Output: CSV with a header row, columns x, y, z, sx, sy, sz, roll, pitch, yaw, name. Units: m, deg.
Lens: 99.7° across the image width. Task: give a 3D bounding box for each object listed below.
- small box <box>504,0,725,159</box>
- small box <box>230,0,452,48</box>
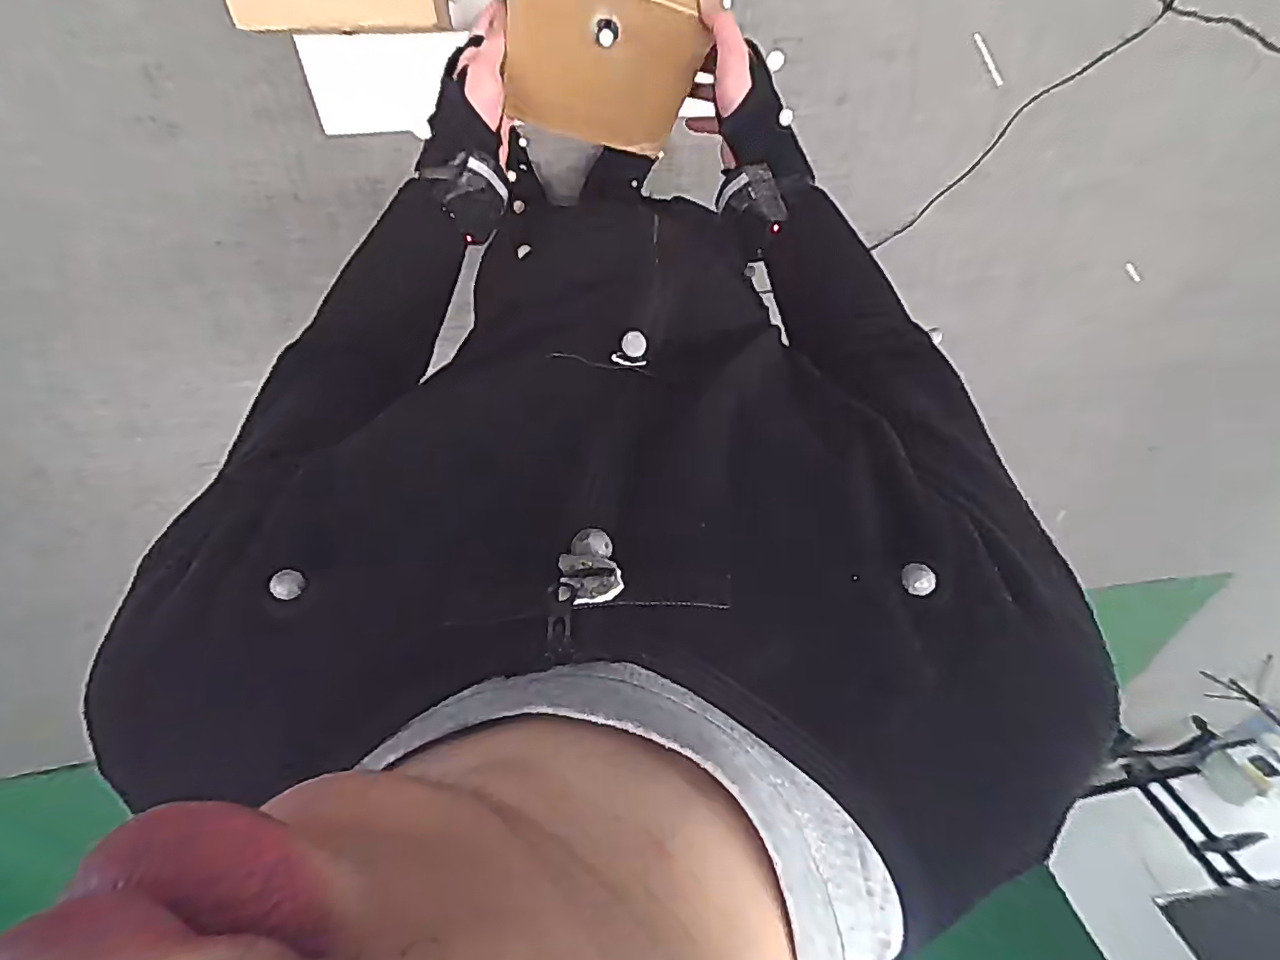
x,y,z,sx,sy,sz,roll,pitch,yaw,name
-0.032,-0.451,0.520,0.179,0.168,0.176,5,170,-18,small box
-0.284,-0.514,0.508,0.179,0.176,0.168,-7,128,-6,small box
